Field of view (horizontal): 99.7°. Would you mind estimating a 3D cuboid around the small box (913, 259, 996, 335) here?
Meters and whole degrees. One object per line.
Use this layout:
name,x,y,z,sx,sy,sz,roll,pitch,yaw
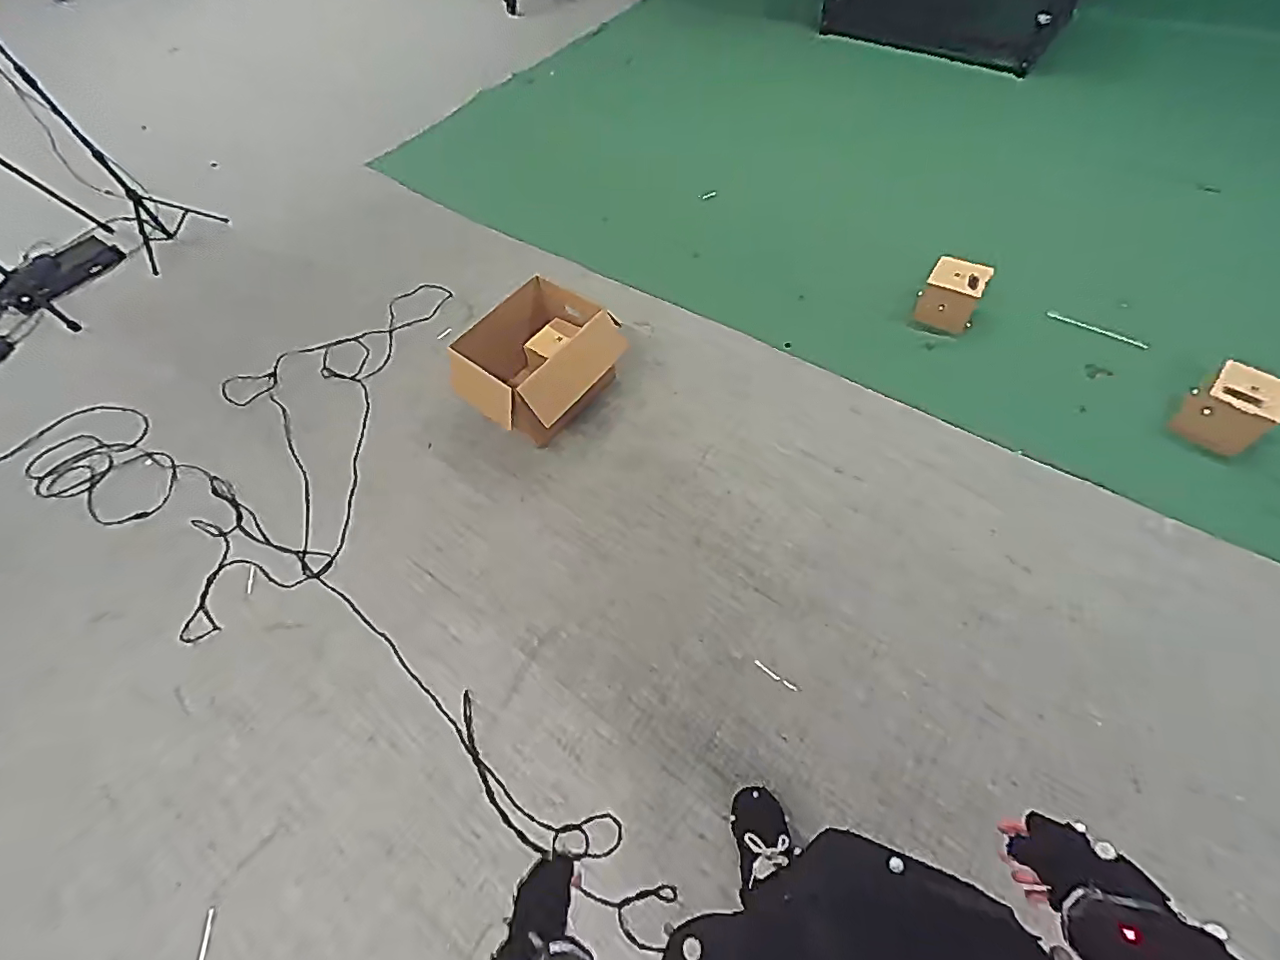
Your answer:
small box,1.098,-0.637,1.897,0.179,0.176,0.168,28,64,22
